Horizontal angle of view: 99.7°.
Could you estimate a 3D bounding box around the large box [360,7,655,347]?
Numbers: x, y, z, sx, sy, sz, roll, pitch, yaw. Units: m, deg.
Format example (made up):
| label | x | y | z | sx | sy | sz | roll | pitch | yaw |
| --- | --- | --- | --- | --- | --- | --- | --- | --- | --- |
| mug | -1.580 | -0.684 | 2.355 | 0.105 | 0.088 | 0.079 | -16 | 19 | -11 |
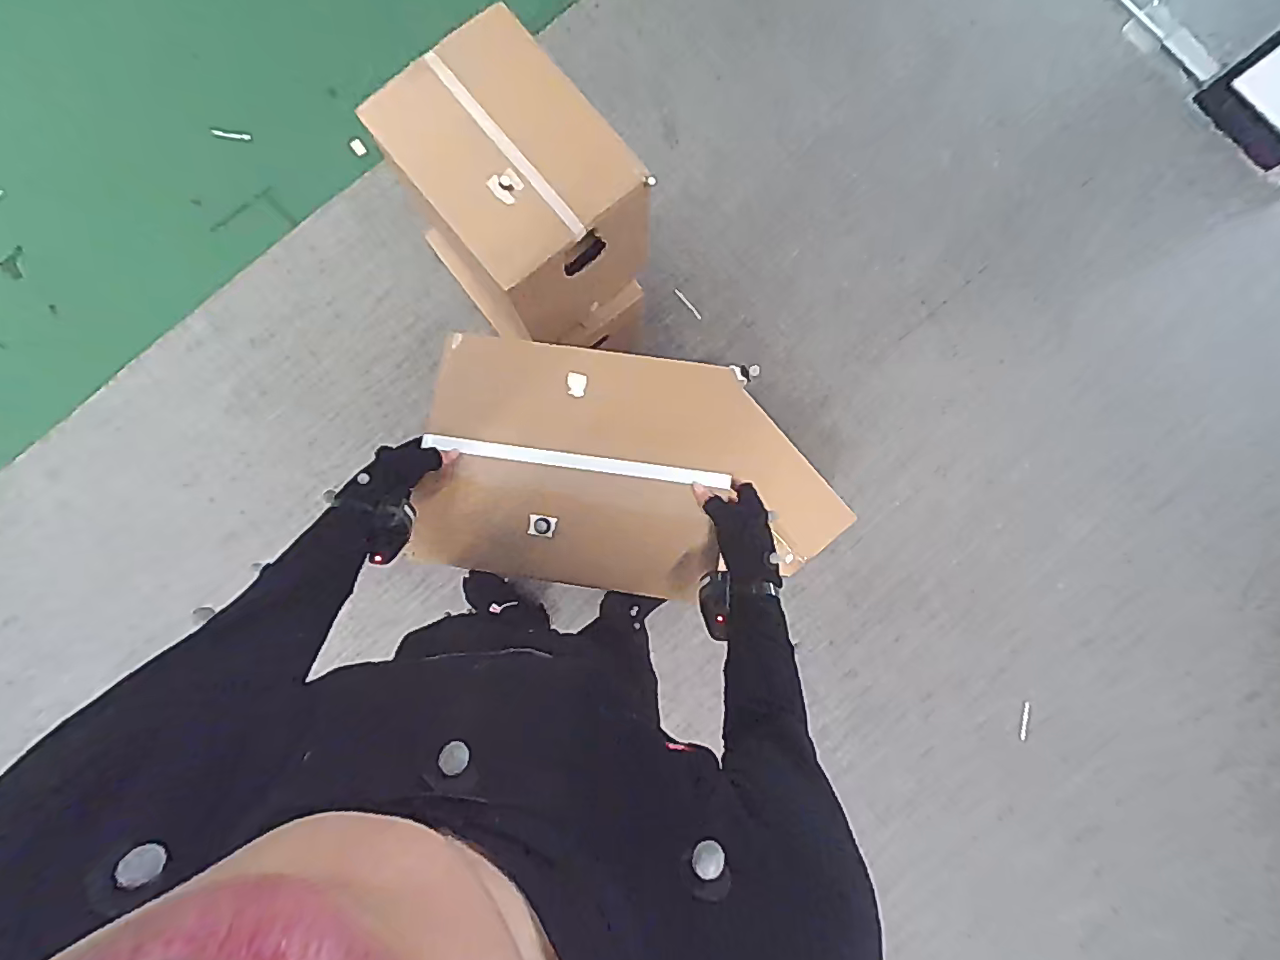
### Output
| label | x | y | z | sx | sy | sz | roll | pitch | yaw |
| --- | --- | --- | --- | --- | --- | --- | --- | --- | --- |
| large box | -0.224 | -0.539 | 1.032 | 0.320 | 0.320 | 0.408 | -39 | 87 | -5 |
